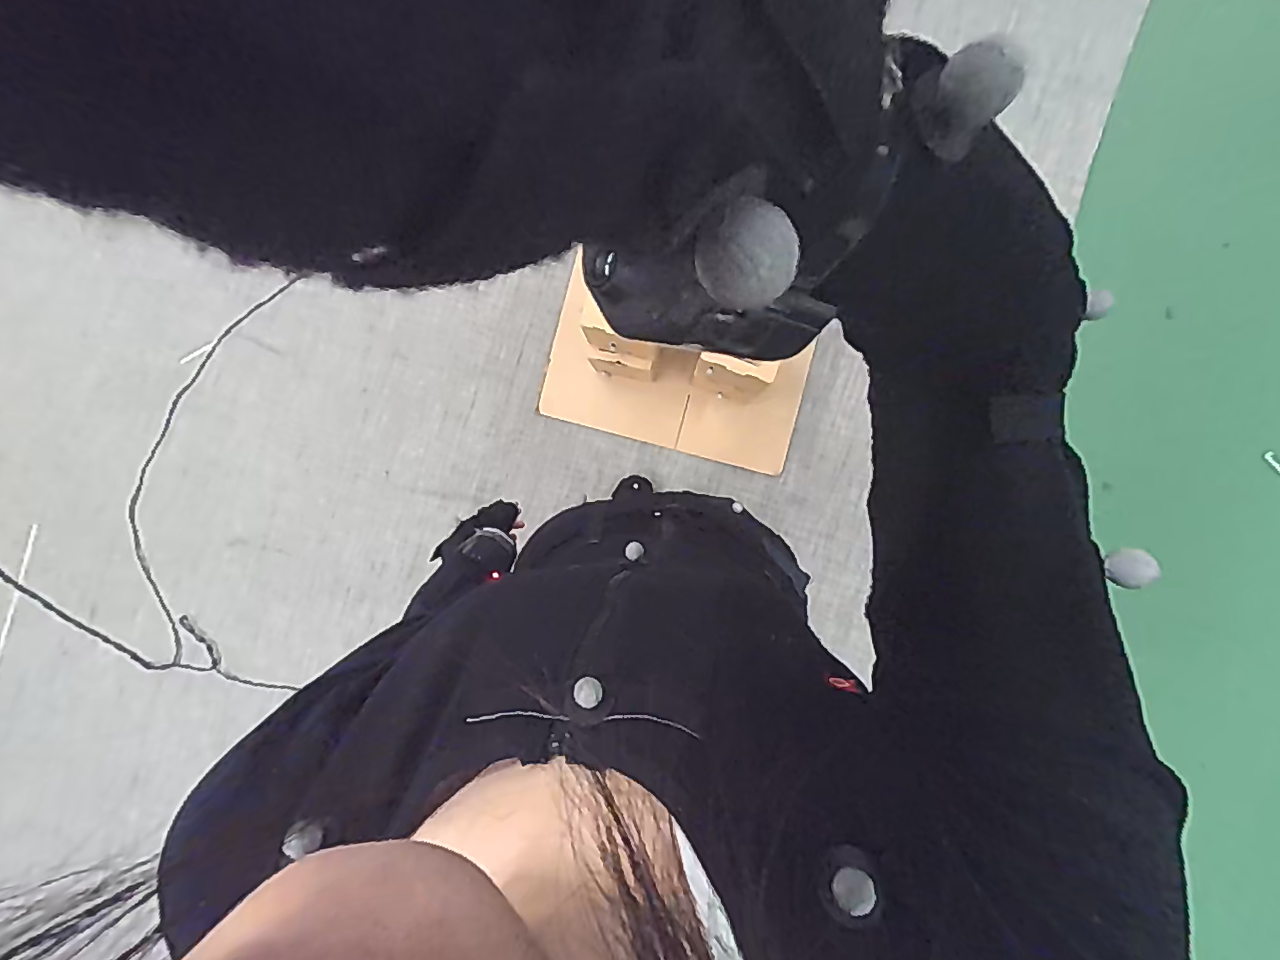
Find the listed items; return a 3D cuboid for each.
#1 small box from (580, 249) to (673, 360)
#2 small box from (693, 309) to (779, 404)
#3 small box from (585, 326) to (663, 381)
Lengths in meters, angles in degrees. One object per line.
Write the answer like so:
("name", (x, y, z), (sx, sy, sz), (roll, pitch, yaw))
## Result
("small box", (-0.028, -0.393, 1.240), (0.168, 0.176, 0.179), (16, 90, 2))
("small box", (0.238, -0.311, 1.396), (0.168, 0.176, 0.179), (20, 91, 3))
("small box", (-0.035, -0.367, 1.403), (0.168, 0.176, 0.179), (13, 90, 2))
